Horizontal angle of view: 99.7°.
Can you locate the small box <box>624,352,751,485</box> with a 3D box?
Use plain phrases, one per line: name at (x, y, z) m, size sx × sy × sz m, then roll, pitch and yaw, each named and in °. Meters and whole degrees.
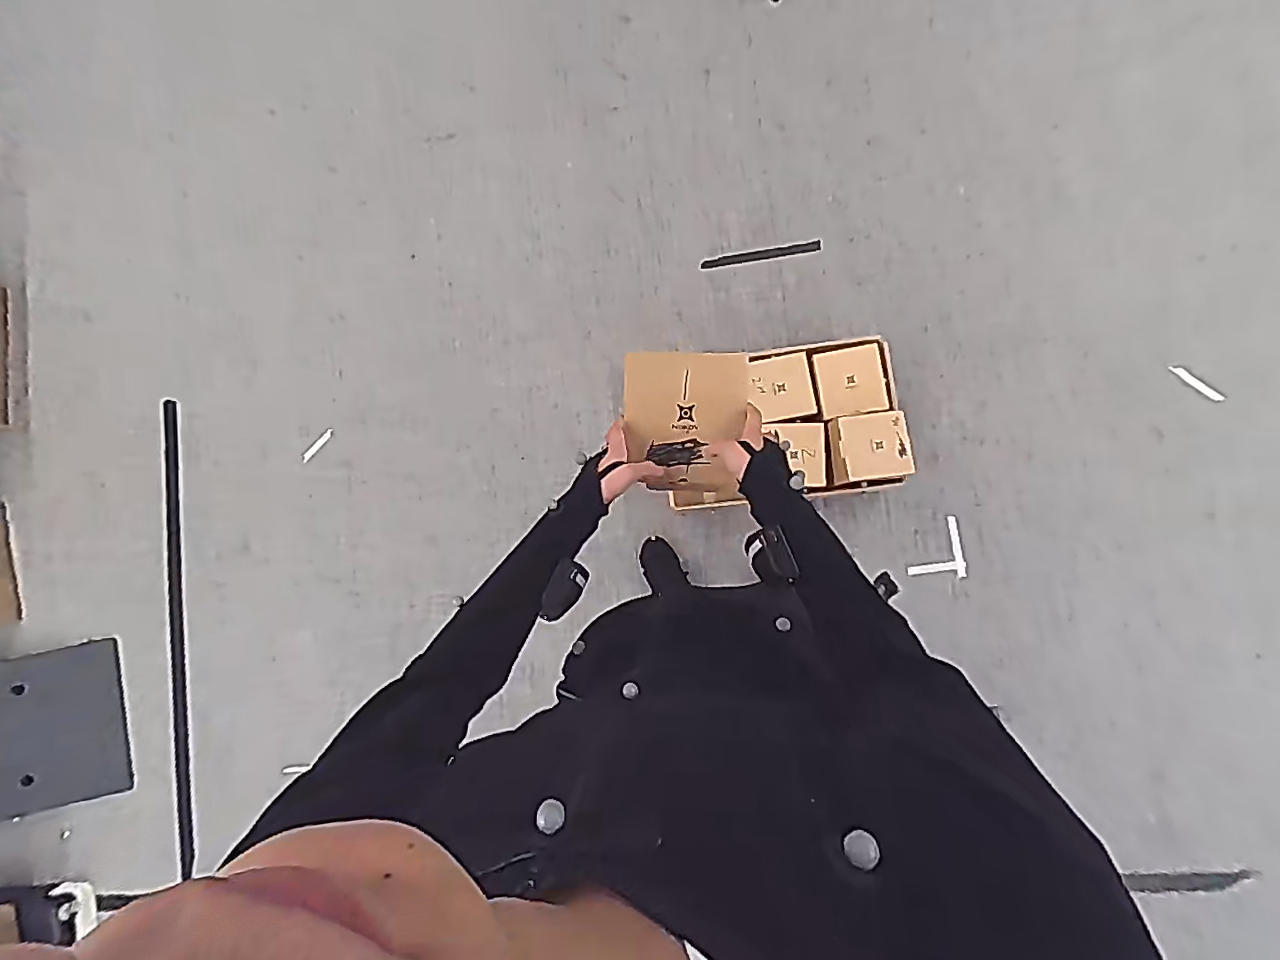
small box at (0.067, -0.095, 0.797) m, size 0.168 × 0.176 × 0.179 m, roll 1°, pitch 100°, yaw 3°
